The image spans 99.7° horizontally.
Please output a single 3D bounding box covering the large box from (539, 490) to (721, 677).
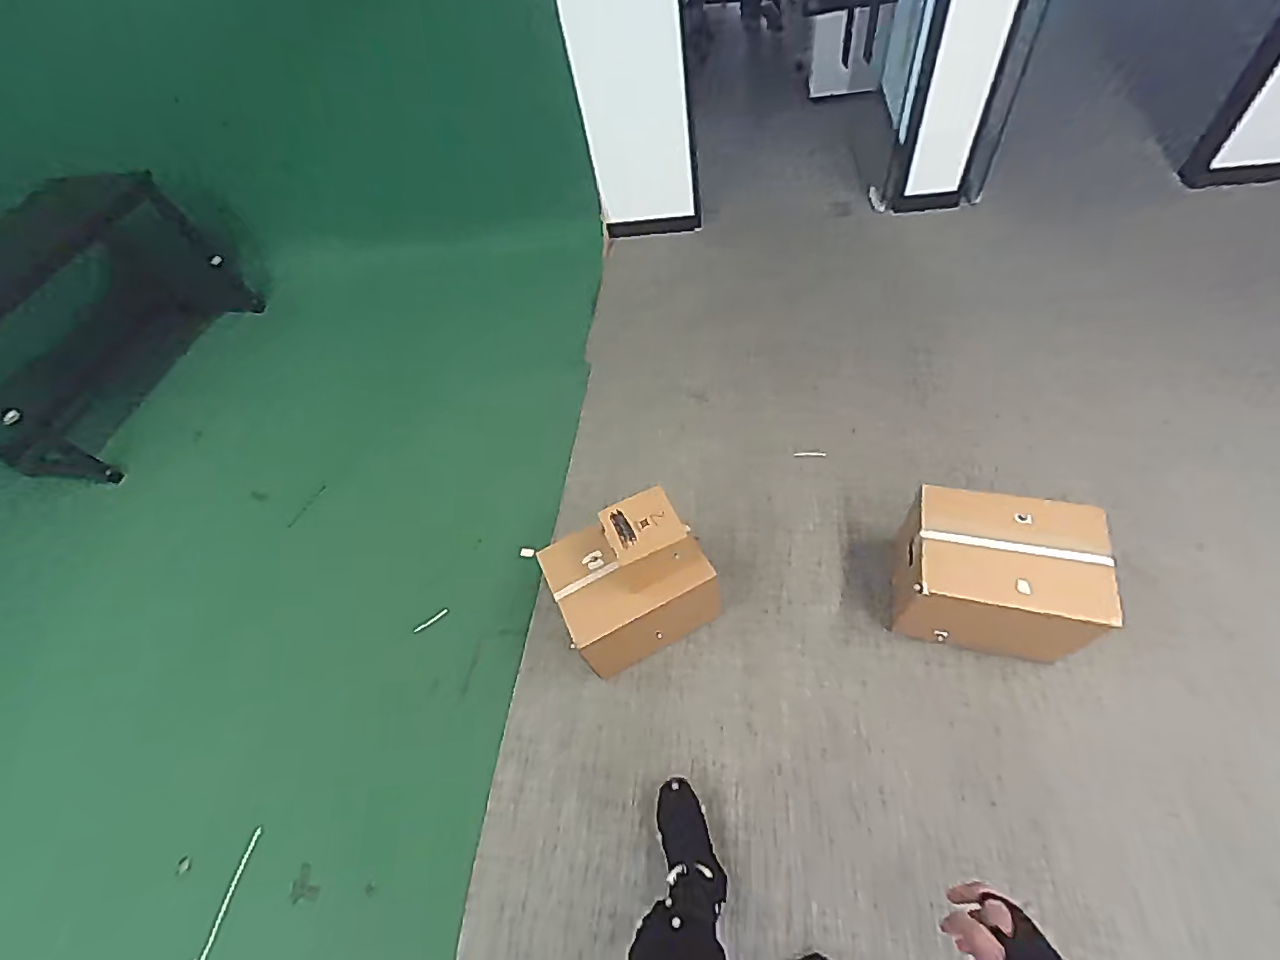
[{"bbox_3d":[-0.017,0.305,1.564,0.408,0.320,0.320,-28,55,-7],"label":"large box"}]
